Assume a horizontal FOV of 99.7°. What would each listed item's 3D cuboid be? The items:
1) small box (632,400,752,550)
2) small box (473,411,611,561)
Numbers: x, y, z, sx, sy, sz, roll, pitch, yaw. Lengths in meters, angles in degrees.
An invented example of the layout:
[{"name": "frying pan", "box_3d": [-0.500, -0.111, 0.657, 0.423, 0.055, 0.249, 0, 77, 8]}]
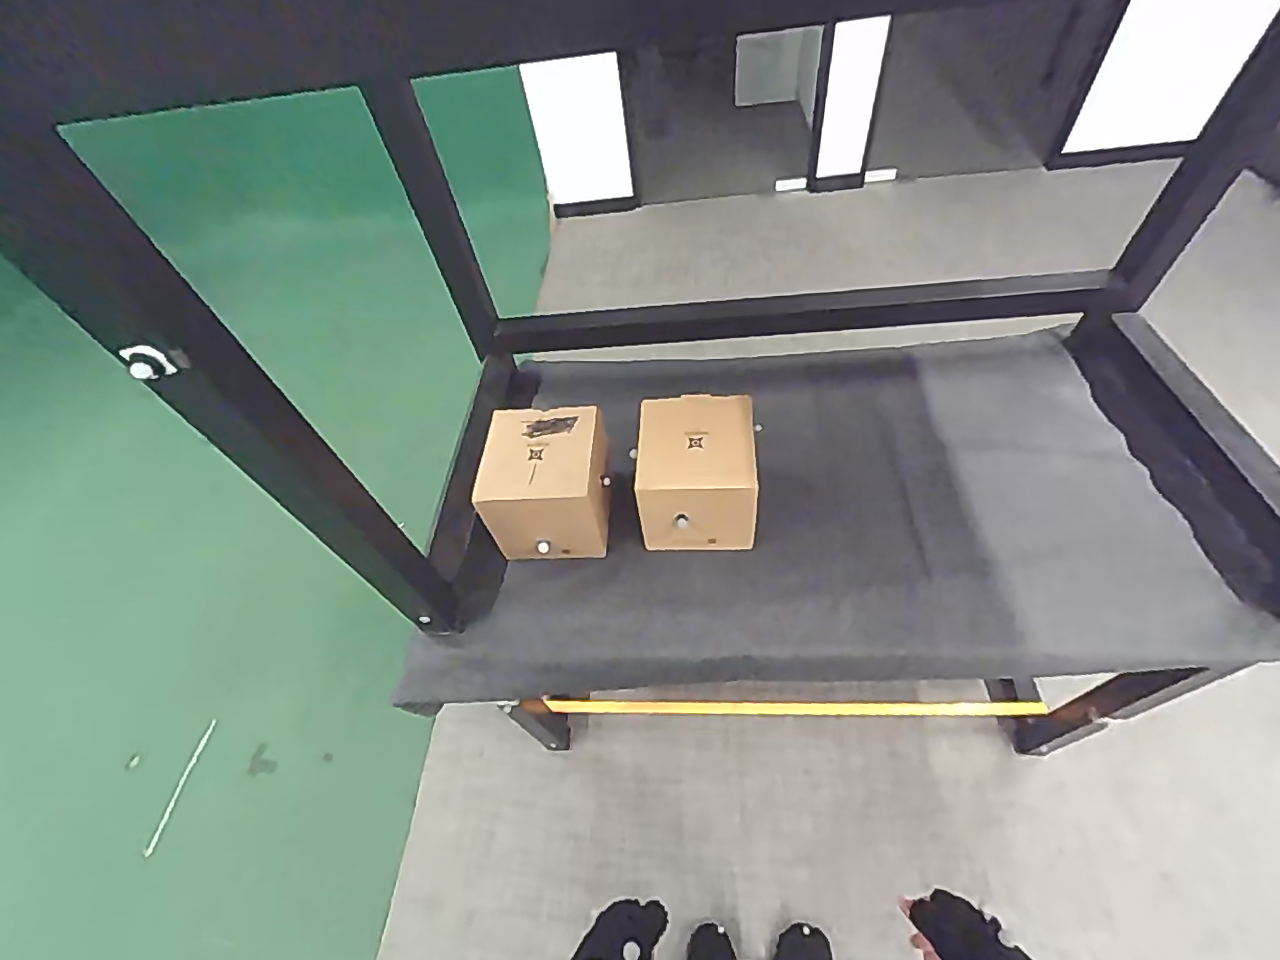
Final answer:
[{"name": "small box", "box_3d": [0.085, -0.002, 0.841, 0.168, 0.176, 0.179, -1, 52, 7]}, {"name": "small box", "box_3d": [-0.141, 0.011, 0.858, 0.168, 0.176, 0.179, -2, 52, 6]}]
